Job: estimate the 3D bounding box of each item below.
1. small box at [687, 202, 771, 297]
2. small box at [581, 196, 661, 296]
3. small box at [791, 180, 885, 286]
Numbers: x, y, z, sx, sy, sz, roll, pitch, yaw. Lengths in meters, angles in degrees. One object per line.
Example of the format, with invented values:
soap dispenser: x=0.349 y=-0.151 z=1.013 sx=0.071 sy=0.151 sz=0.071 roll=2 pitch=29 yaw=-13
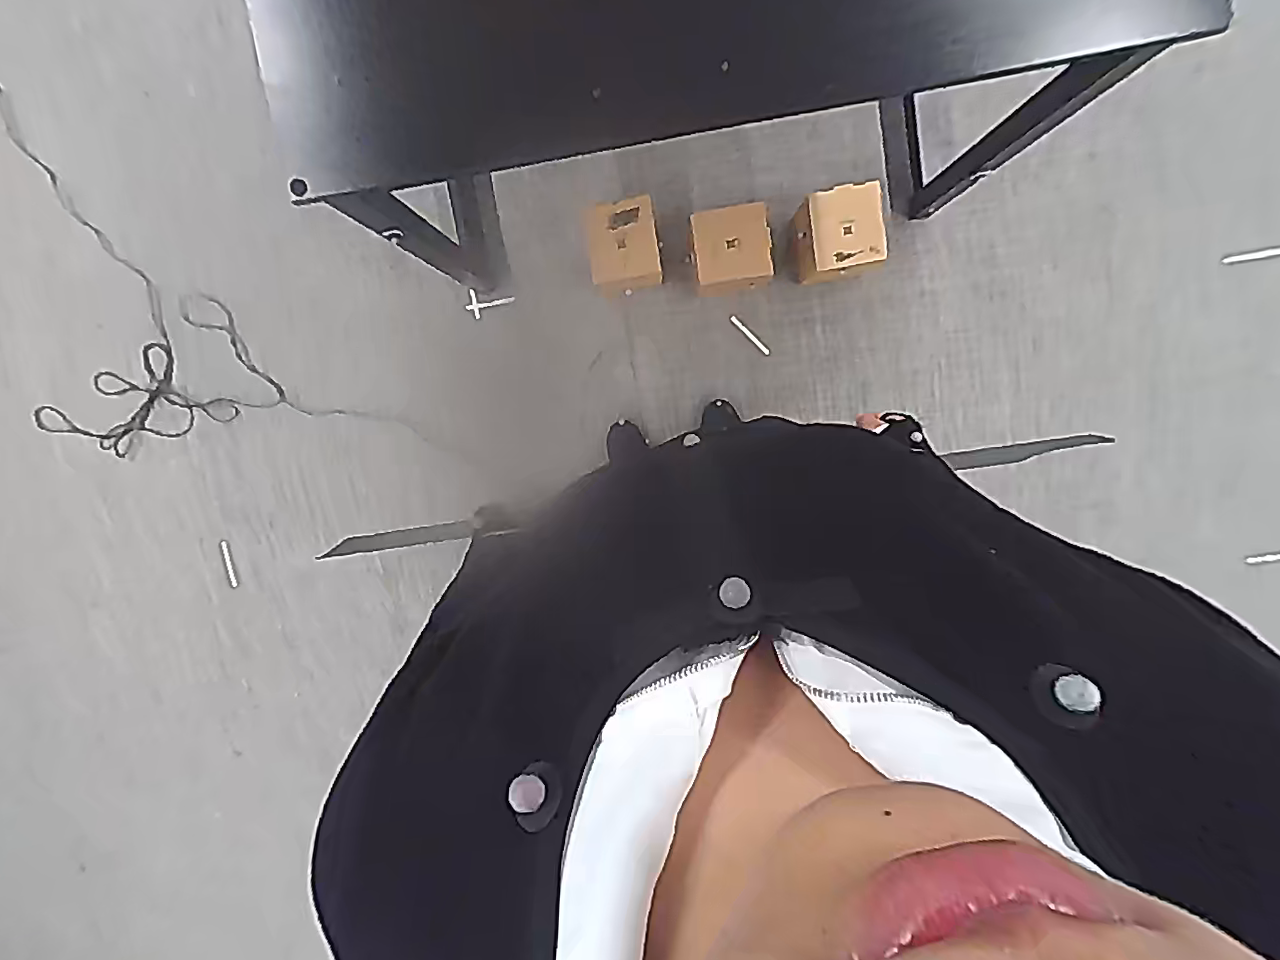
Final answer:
small box: x=0.214 y=-0.560 z=1.335 sx=0.179 sy=0.176 sz=0.168 roll=-8 pitch=97 yaw=4
small box: x=-0.043 y=-0.572 z=1.342 sx=0.168 sy=0.176 sz=0.179 roll=-9 pitch=98 yaw=4
small box: x=0.474 y=-0.593 z=1.317 sx=0.168 sy=0.176 sz=0.179 roll=-9 pitch=97 yaw=4
